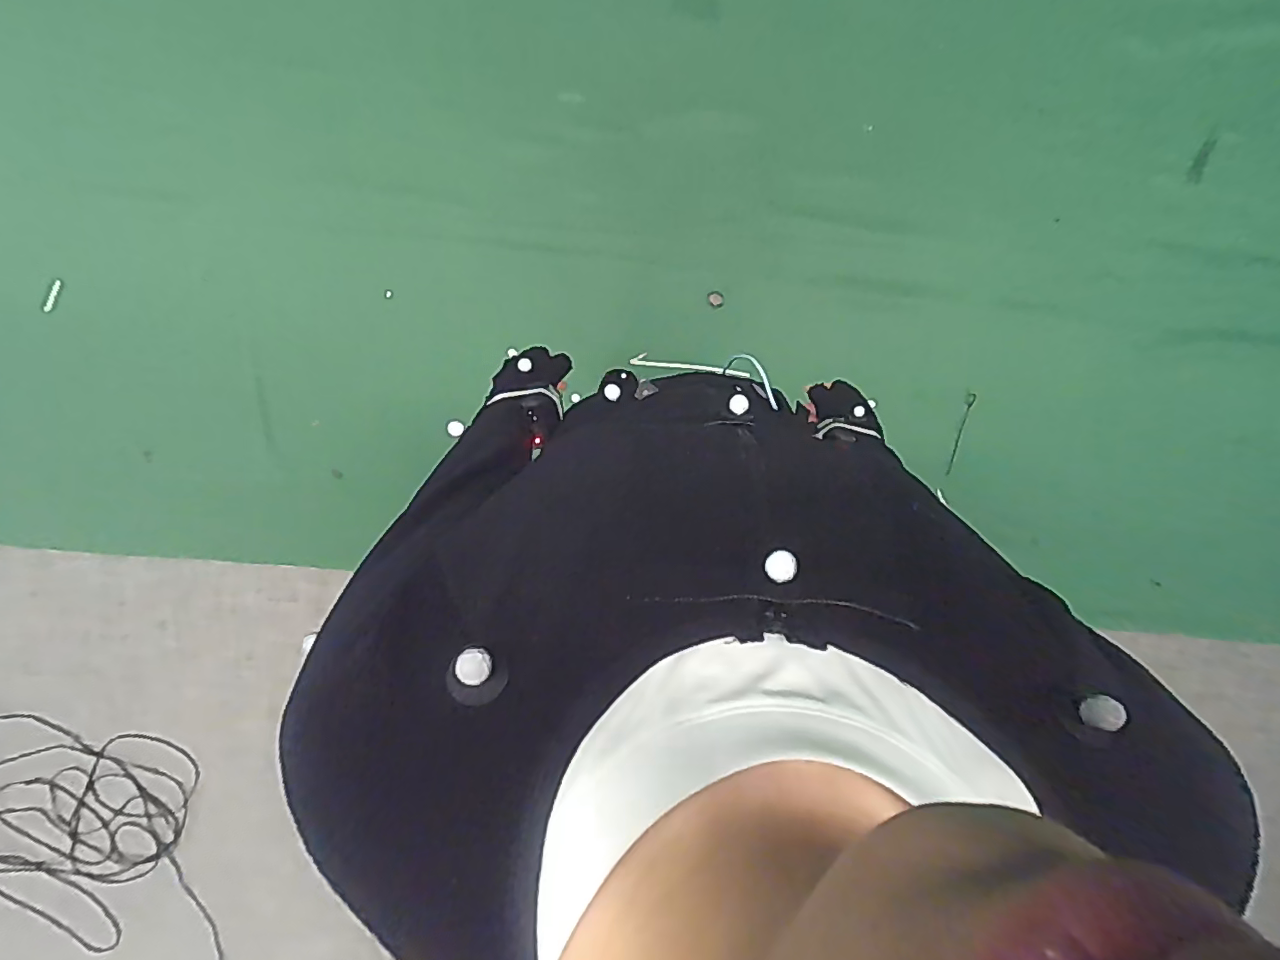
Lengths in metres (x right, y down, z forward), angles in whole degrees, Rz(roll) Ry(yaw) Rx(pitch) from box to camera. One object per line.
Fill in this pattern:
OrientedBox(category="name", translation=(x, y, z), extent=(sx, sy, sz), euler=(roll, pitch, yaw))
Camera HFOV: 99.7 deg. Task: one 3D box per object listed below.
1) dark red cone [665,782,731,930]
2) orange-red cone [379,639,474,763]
OrientedBox(category="dark red cone", translation=(0.181, 1.052, 1.511), extent=(0.202, 0.394, 0.201), euler=(-1, 101, -1))
OrientedBox(category="orange-red cone", translation=(-0.587, 0.604, 1.423), extent=(0.198, 0.360, 0.199), euler=(5, 103, -1))
